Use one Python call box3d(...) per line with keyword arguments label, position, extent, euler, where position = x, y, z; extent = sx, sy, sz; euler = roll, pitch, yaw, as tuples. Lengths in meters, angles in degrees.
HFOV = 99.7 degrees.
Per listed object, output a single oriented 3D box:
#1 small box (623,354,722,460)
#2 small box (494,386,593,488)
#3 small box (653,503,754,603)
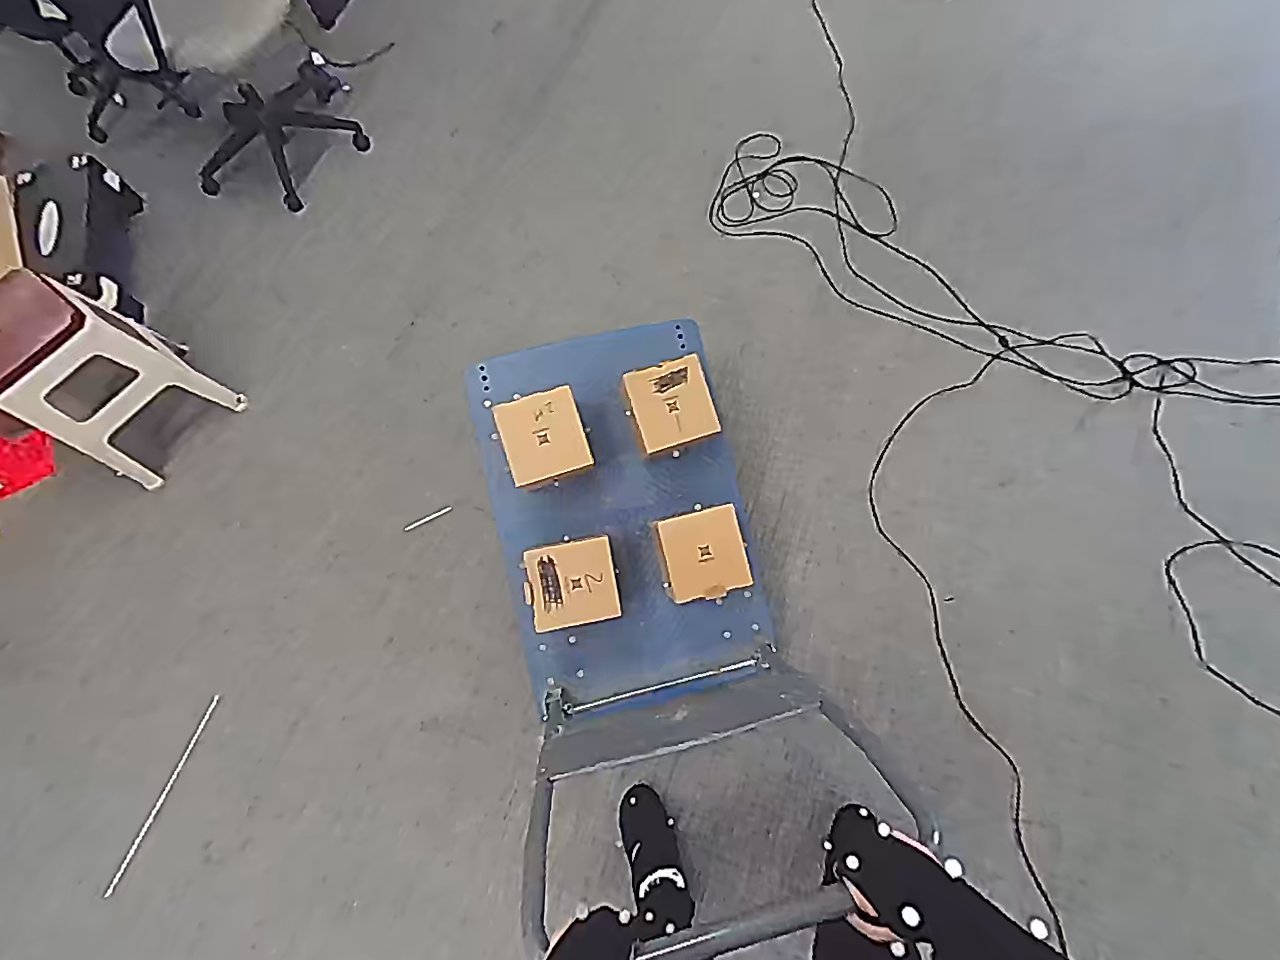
box3d(label="small box", position=(0.064, -0.155, 1.204), extent=(0.168, 0.176, 0.179), euler=(-17, 88, -5))
box3d(label="small box", position=(-0.202, -0.085, 1.178), extent=(0.168, 0.176, 0.179), euler=(-17, 87, -6))
box3d(label="small box", position=(0.130, 0.156, 1.188), extent=(0.168, 0.176, 0.179), euler=(-14, 88, -5))
